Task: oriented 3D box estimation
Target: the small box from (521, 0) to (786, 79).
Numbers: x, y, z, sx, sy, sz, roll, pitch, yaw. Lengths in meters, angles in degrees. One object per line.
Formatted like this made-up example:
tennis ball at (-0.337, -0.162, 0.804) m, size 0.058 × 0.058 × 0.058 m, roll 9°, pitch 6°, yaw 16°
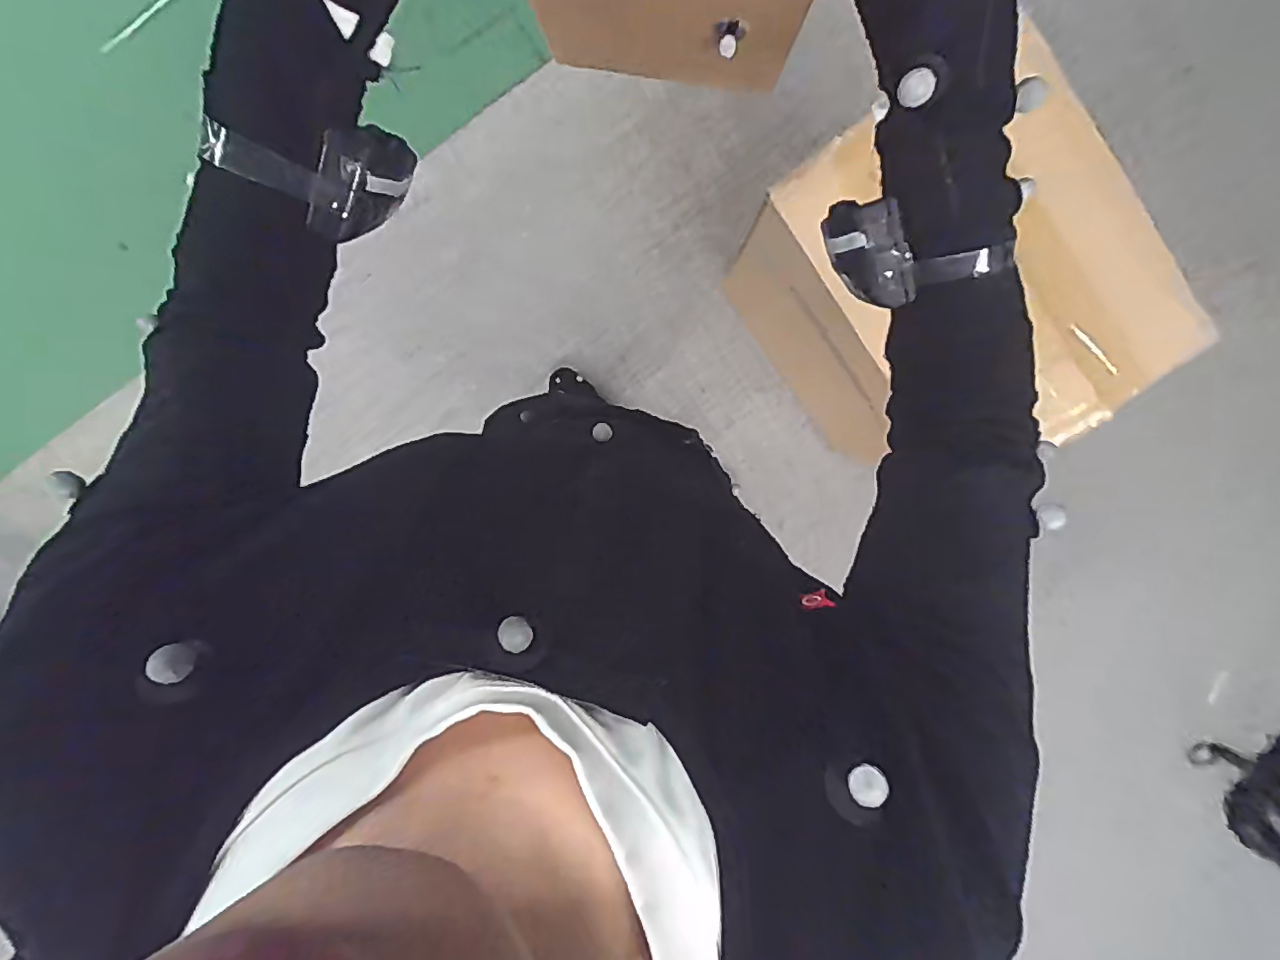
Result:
small box at (0.015, -0.377, 0.327) m, size 0.179 × 0.176 × 0.168 m, roll 7°, pitch 104°, yaw 2°
